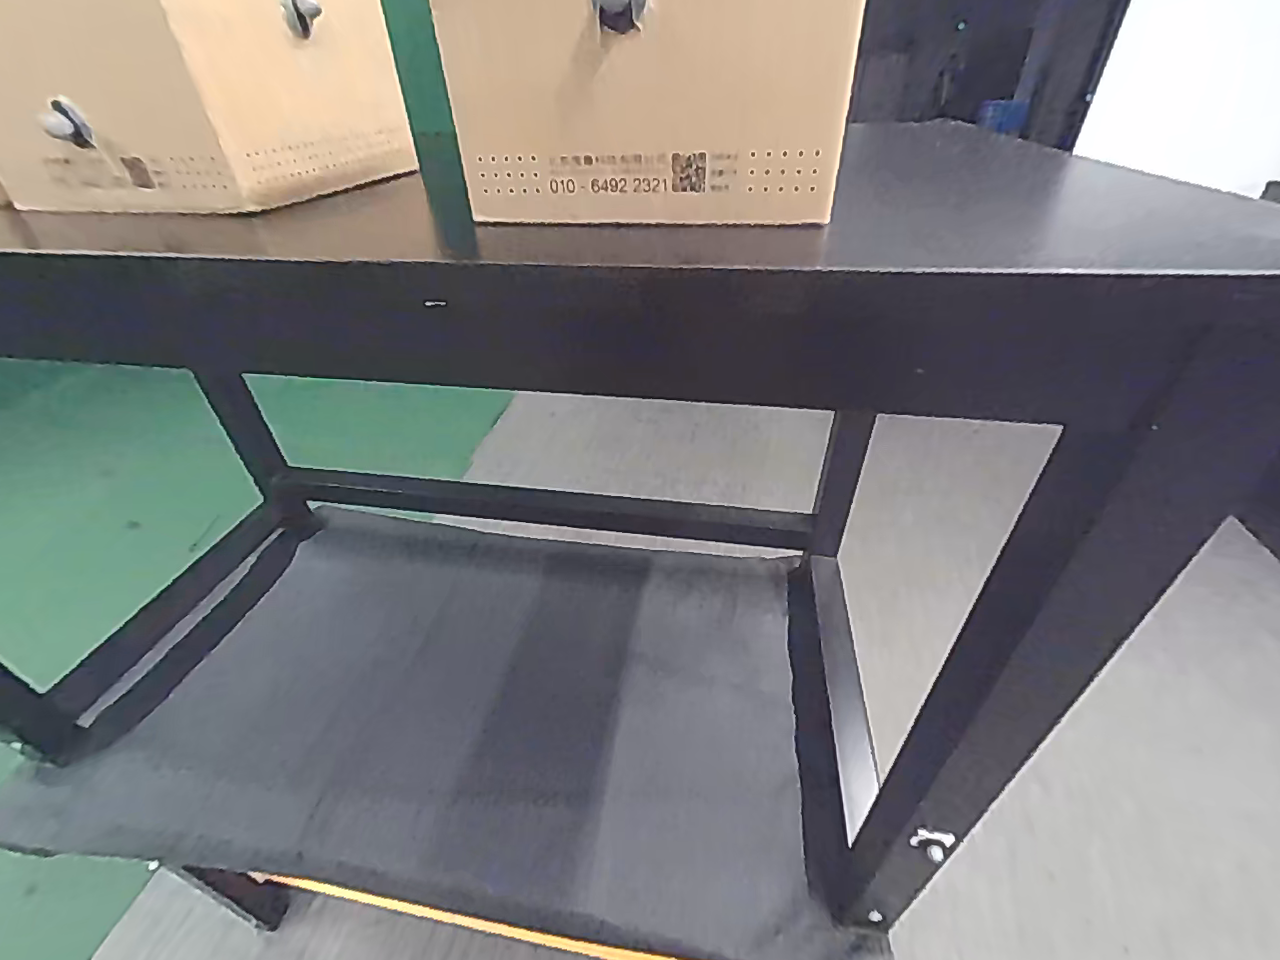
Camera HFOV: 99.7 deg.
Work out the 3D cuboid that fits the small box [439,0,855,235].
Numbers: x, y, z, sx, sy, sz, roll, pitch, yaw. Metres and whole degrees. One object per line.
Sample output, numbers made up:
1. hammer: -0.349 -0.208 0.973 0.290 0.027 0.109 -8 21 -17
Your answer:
1. small box: 0.014 -0.228 0.268 0.168 0.176 0.179 5 37 9
